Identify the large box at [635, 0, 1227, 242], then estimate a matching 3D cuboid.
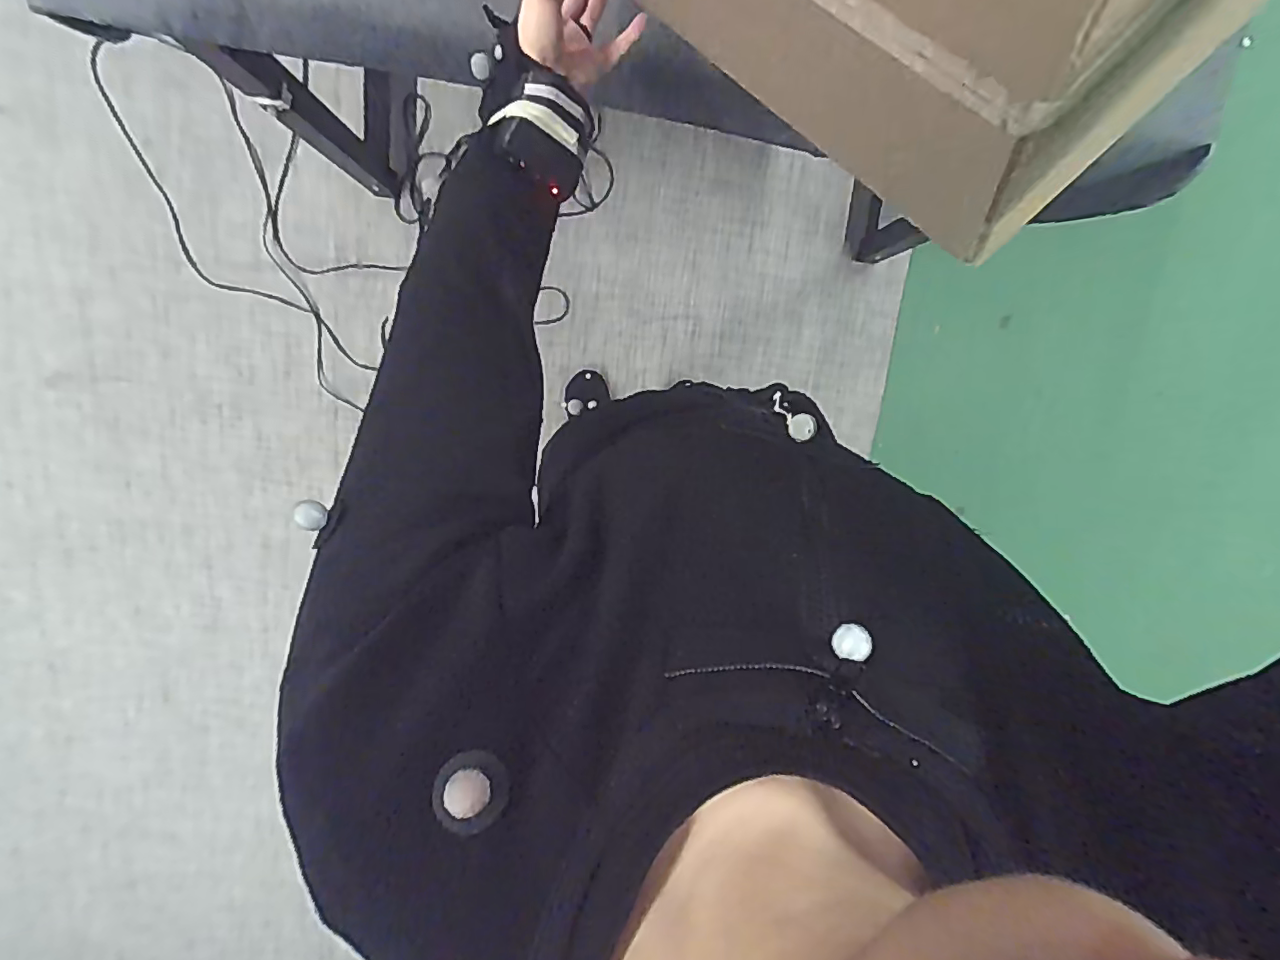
[{"bbox_3d":[0.114,-0.377,0.200,0.320,0.320,0.408,-47,74,17],"label":"large box"}]
